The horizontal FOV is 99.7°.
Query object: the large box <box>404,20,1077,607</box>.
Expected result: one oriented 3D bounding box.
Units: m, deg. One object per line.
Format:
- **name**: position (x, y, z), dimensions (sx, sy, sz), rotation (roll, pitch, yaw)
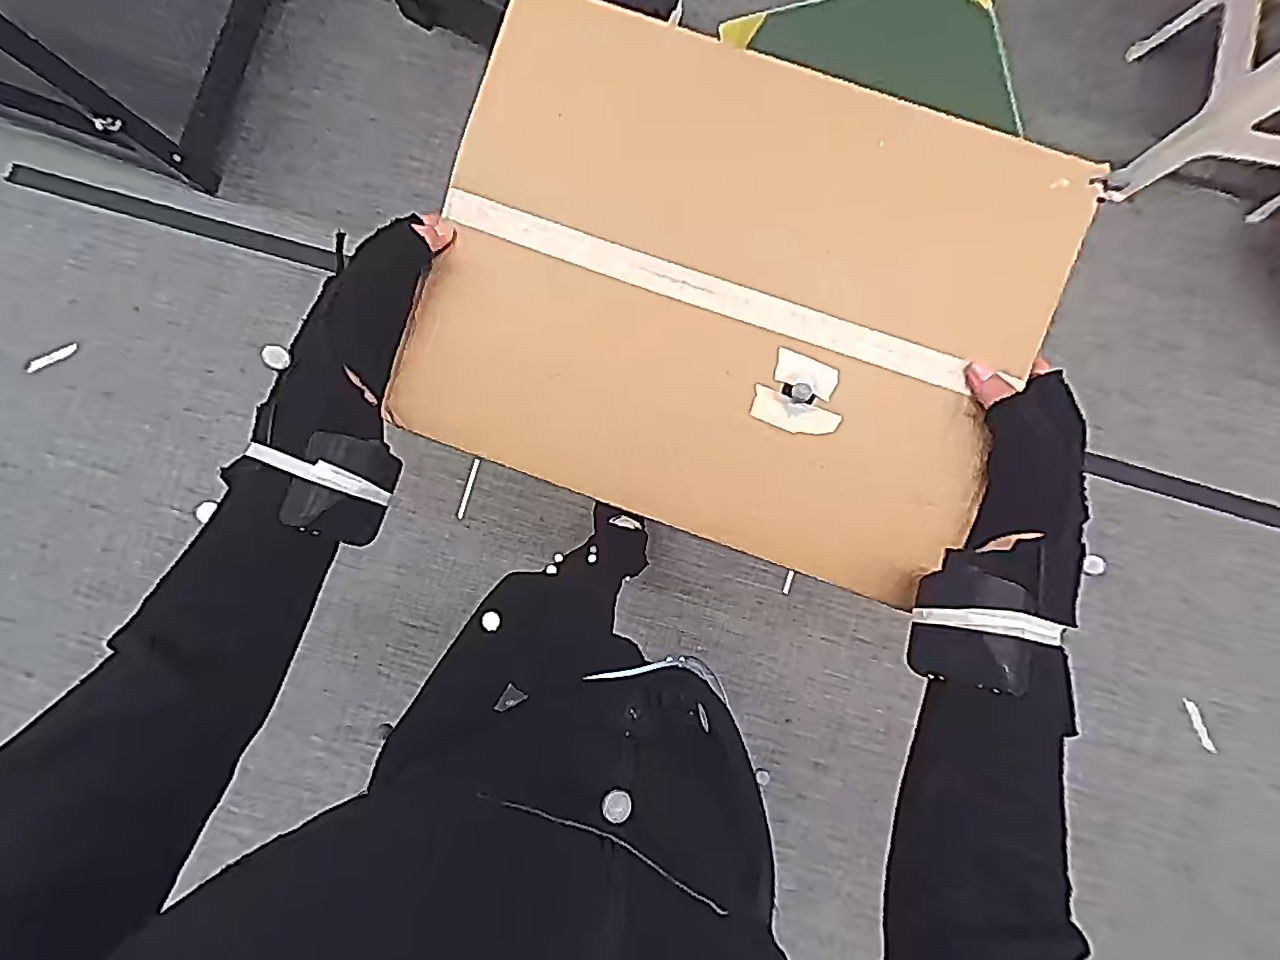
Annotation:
- **large box**: position (0.066, -0.121, 0.525), dimensions (0.408, 0.320, 0.320), rotation (20, 94, 1)
